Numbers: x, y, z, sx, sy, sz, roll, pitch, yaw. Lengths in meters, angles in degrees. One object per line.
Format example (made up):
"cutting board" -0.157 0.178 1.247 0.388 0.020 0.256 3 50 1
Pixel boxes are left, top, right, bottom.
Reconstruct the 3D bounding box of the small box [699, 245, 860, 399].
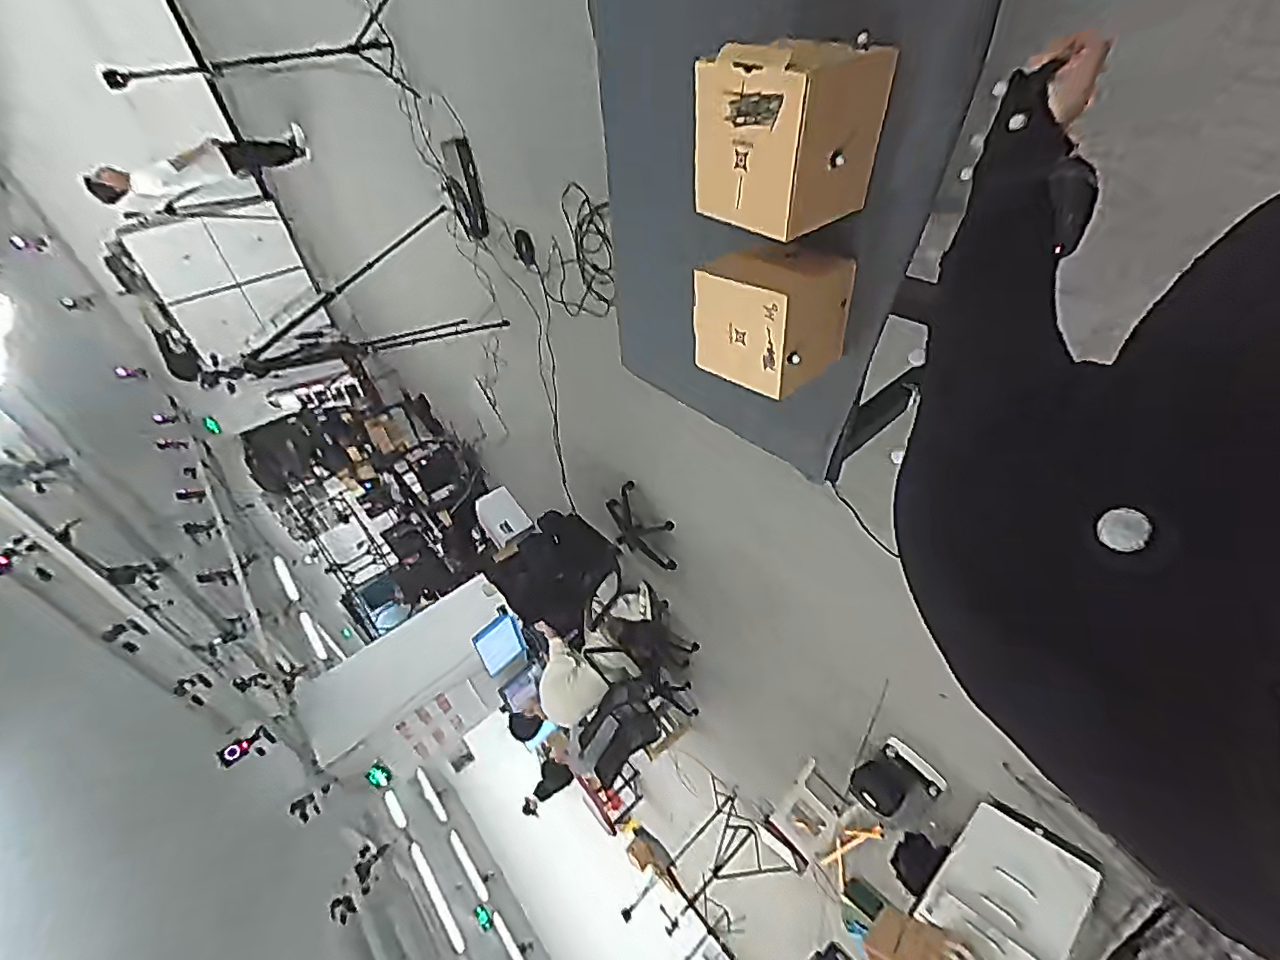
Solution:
"small box" 0.213 -0.258 0.856 0.179 0.176 0.168 35 145 37
